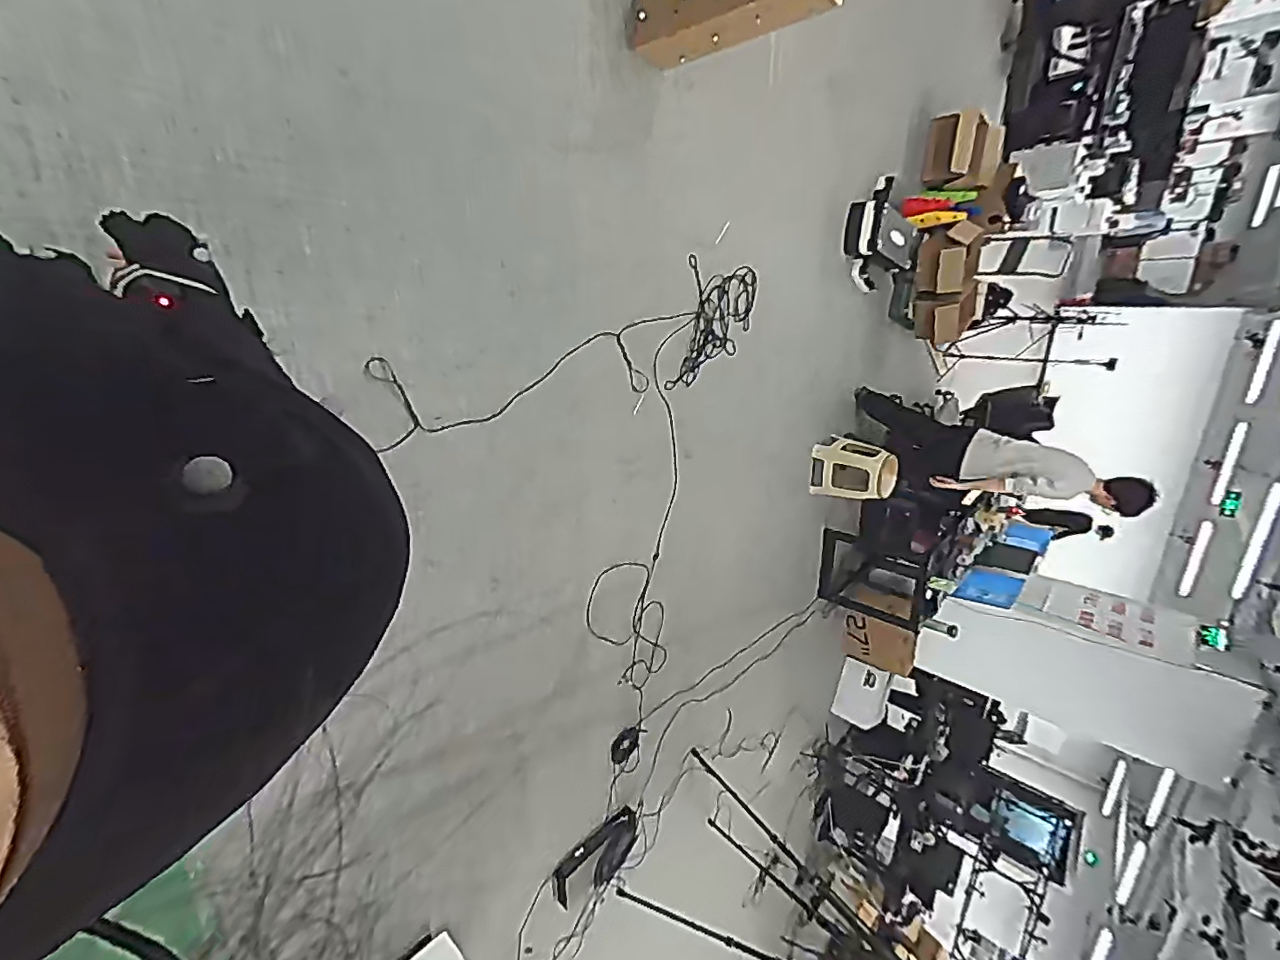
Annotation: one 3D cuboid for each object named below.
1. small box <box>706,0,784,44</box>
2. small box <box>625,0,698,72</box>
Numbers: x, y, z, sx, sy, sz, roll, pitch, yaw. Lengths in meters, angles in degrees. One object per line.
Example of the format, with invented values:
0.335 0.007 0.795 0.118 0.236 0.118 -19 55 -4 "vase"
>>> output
0.315 -1.449 1.616 0.179 0.176 0.168 -14 113 -46 "small box"
0.073 -1.516 1.825 0.179 0.176 0.168 -11 110 -47 "small box"
